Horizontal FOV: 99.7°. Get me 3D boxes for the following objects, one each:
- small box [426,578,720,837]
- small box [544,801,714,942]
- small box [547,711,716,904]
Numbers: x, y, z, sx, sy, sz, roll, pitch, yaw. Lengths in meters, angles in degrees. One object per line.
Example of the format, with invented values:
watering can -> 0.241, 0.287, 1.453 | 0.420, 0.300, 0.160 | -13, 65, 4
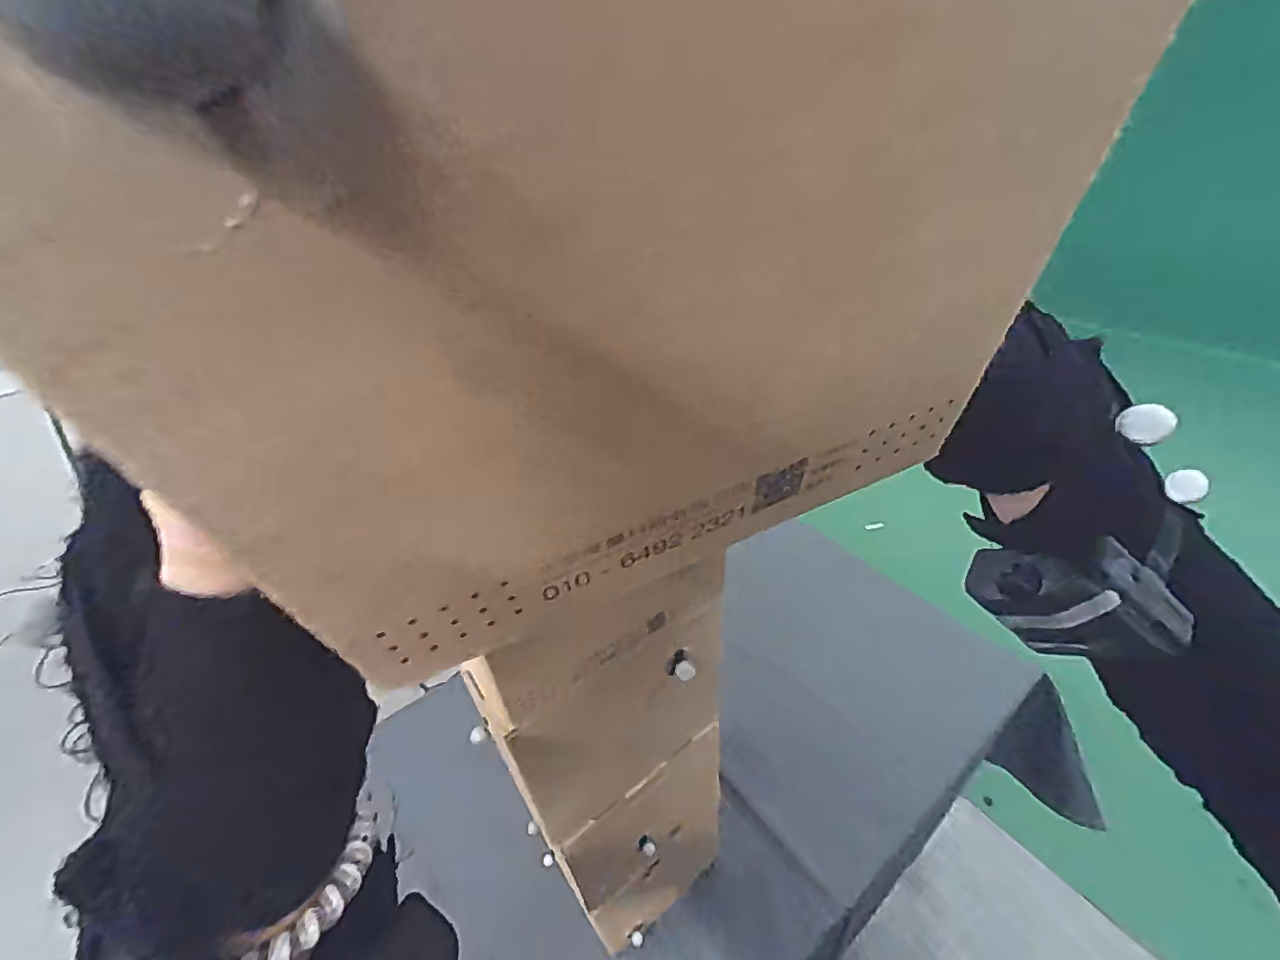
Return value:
small box -> -0.051, 0.150, 0.462 | 0.179, 0.176, 0.168 | -27, 41, -25
small box -> -0.024, 0.410, 0.658 | 0.168, 0.176, 0.179 | -28, 41, -26
small box -> -0.039, 0.281, 0.561 | 0.168, 0.176, 0.179 | -28, 42, -26
